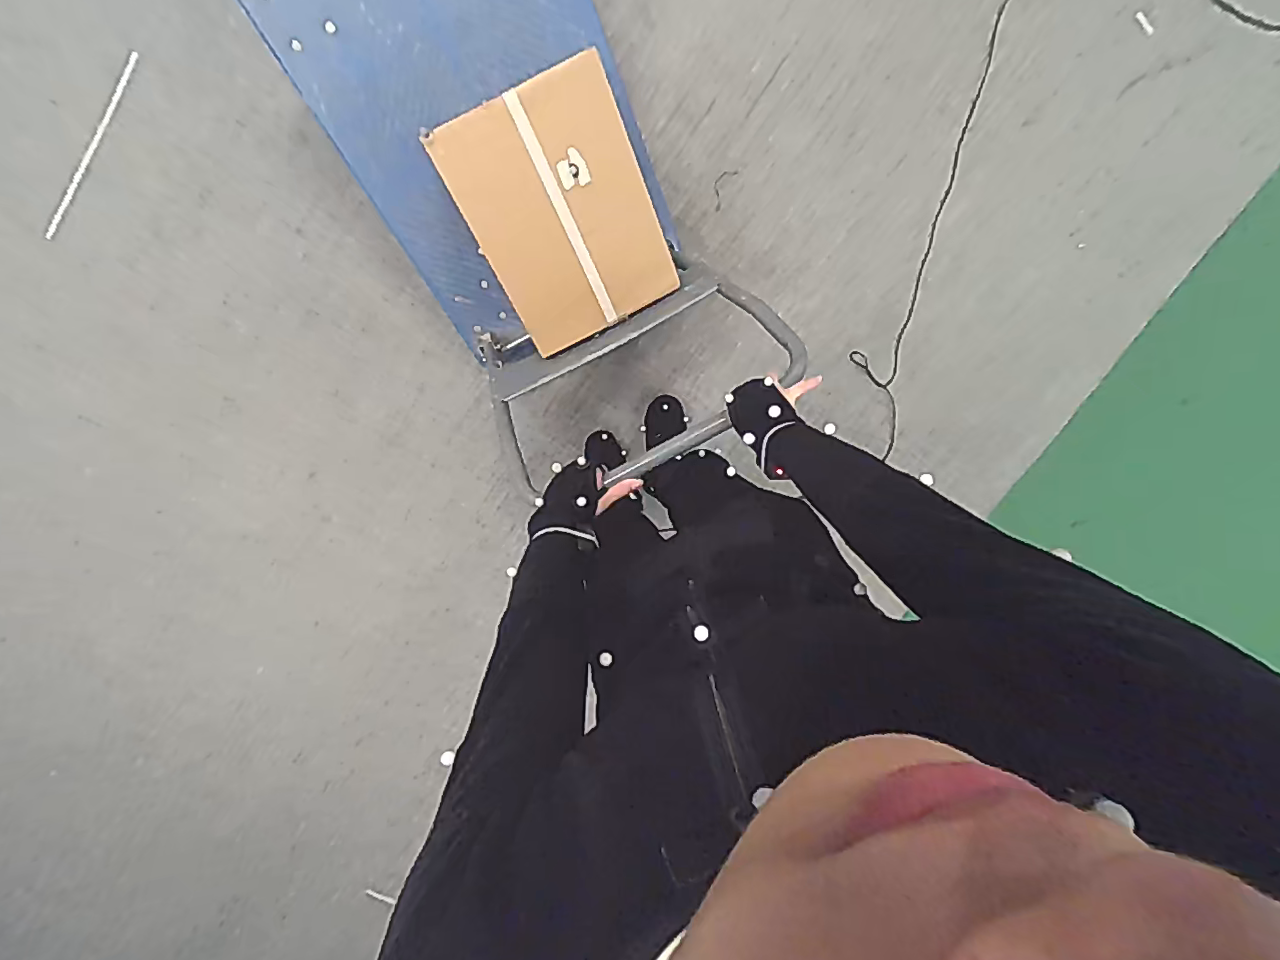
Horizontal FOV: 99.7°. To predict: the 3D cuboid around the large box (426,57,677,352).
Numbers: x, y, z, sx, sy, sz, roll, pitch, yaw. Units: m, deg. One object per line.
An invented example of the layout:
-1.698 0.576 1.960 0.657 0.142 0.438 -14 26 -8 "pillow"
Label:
-0.170 -0.541 1.104 0.320 0.320 0.408 -27 123 0 "large box"
